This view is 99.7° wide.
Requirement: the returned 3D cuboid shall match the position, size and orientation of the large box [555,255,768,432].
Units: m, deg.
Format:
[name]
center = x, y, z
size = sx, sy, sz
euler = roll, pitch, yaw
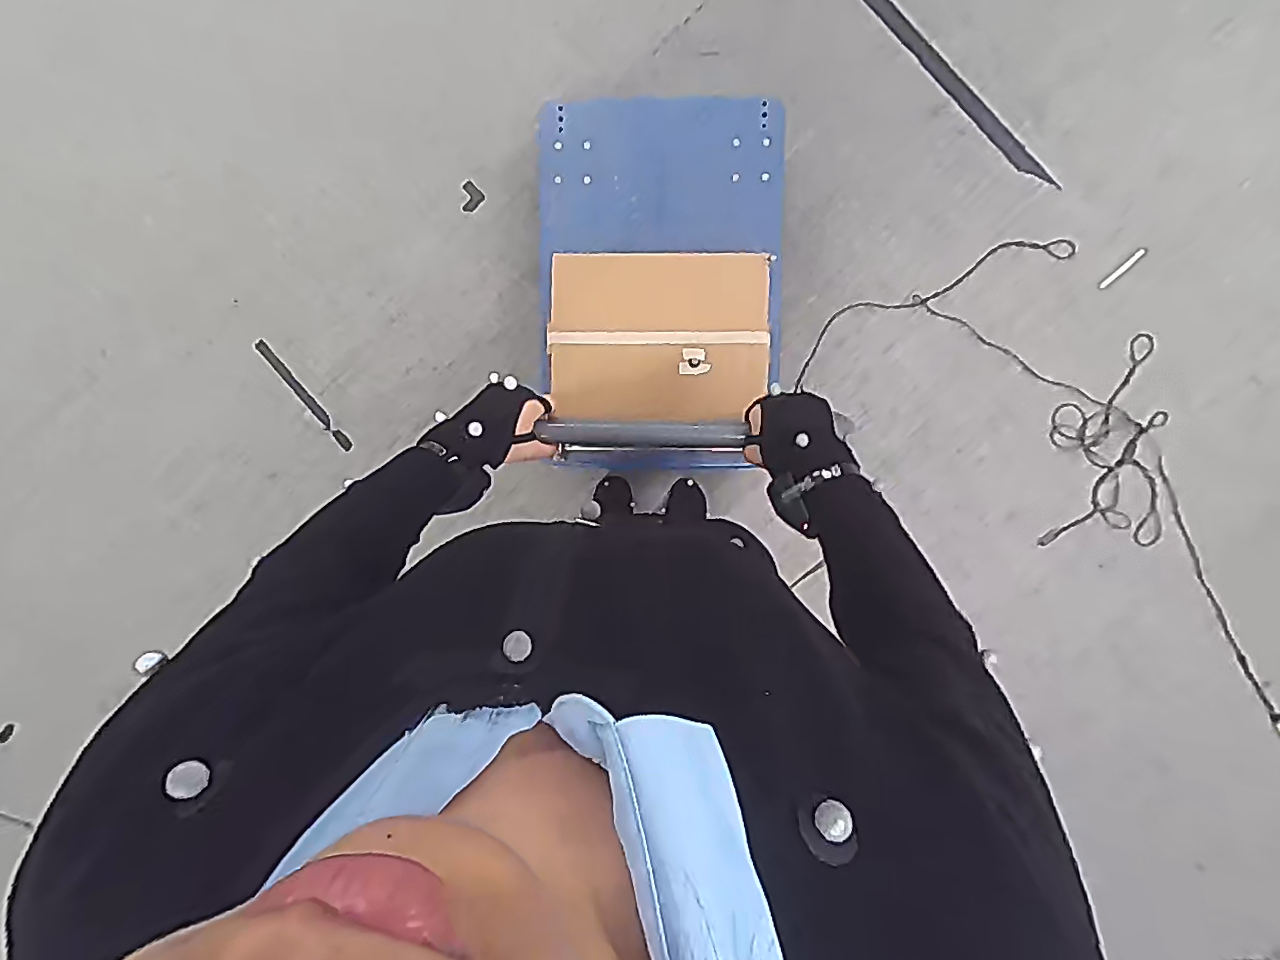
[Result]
[large box]
center = 0.041, -0.267, 1.159
size = 0.408, 0.320, 0.320
euler = 0, 93, 1
